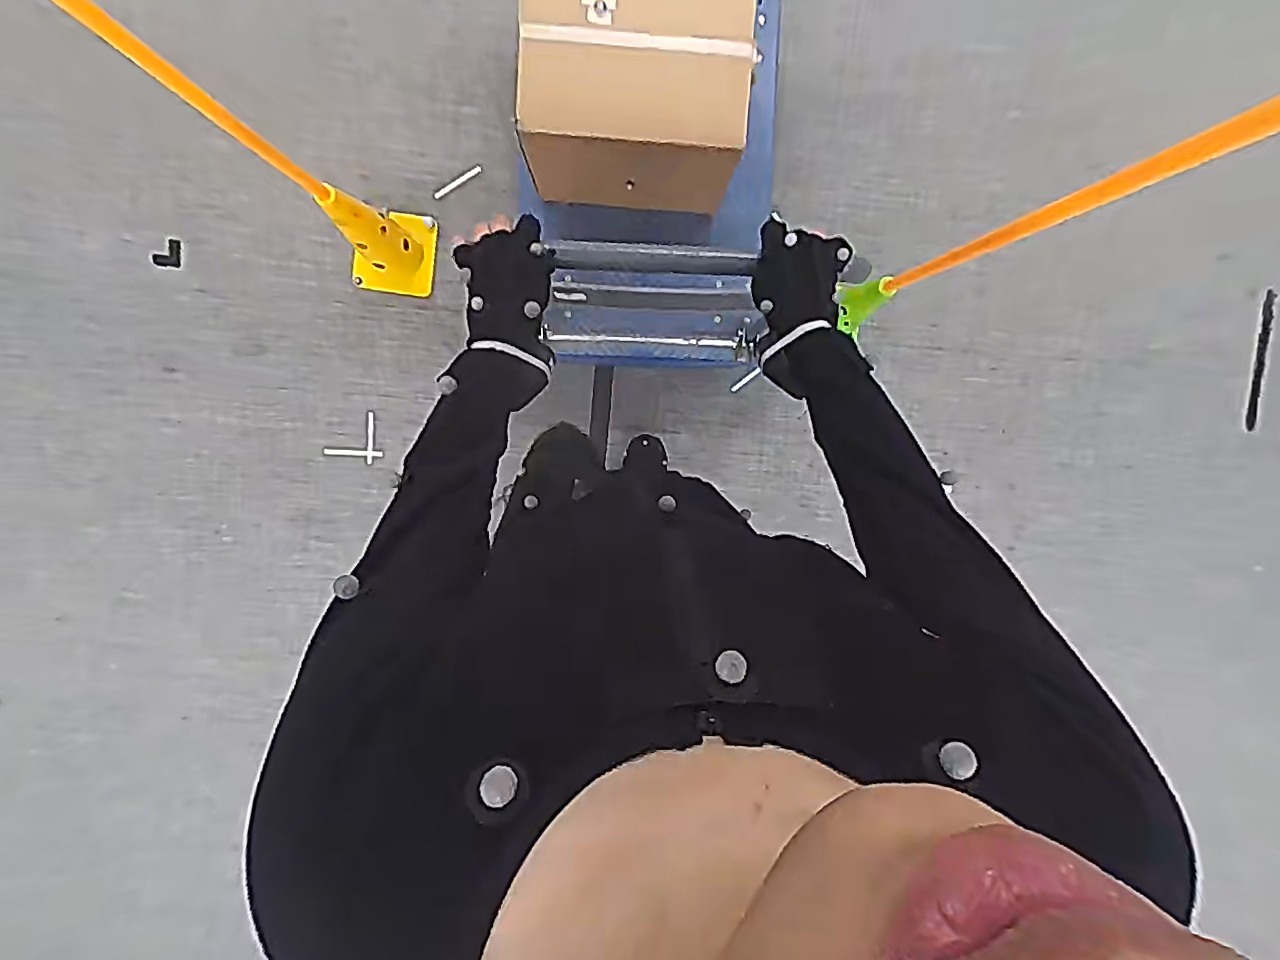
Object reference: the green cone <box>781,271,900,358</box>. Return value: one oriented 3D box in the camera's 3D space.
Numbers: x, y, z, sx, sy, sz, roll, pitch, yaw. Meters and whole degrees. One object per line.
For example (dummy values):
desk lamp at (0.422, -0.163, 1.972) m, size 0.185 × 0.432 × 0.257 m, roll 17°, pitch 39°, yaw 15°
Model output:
green cone at (0.499, -0.423, 1.286) m, size 0.202 × 0.368 × 0.200 m, roll 8°, pitch 95°, yaw -5°

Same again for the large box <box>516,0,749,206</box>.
large box at (-0.015, -0.772, 1.086) m, size 0.408 × 0.320 × 0.320 m, roll 3°, pitch 96°, yaw -2°
